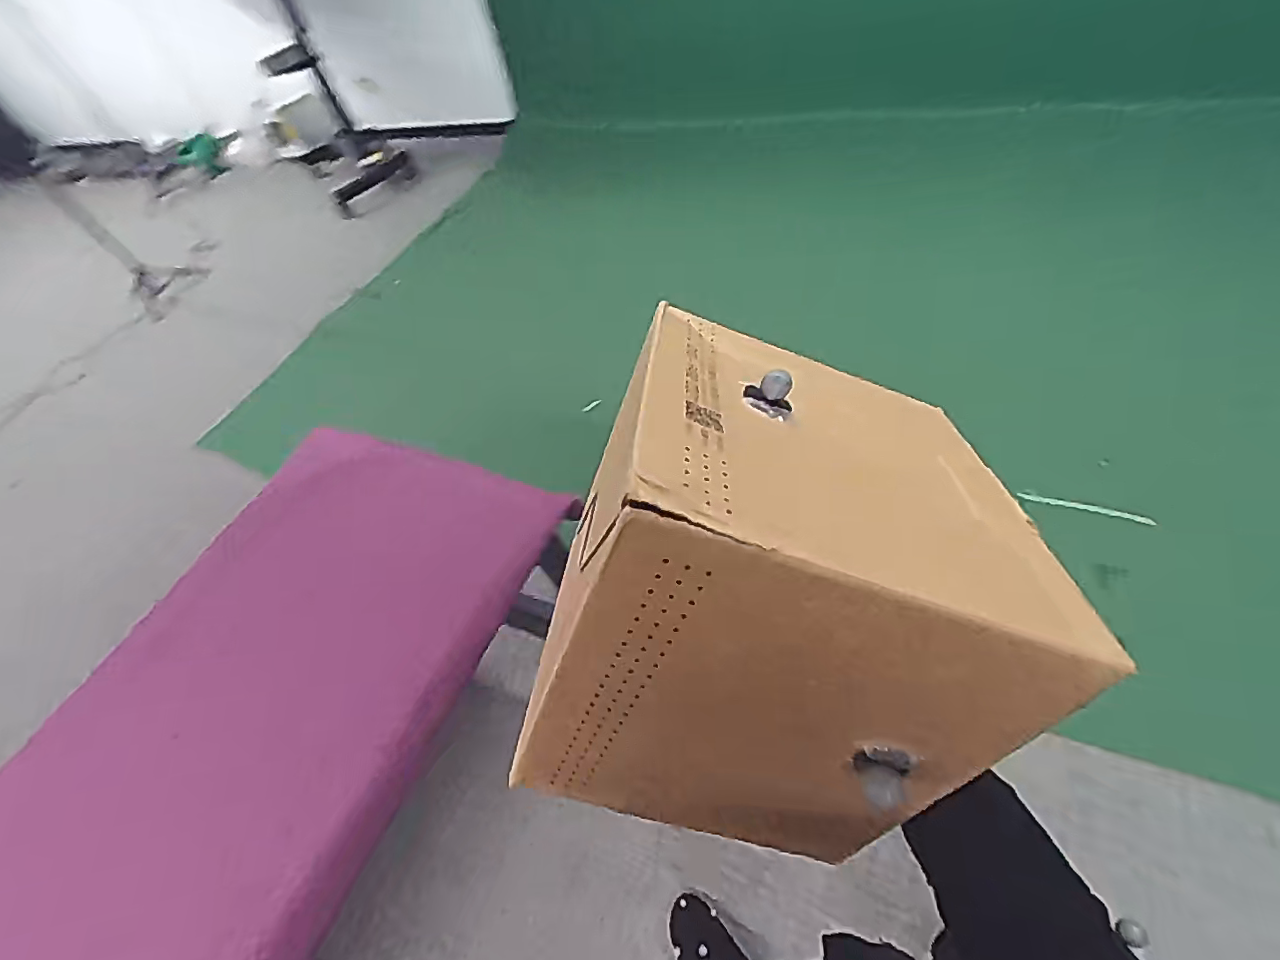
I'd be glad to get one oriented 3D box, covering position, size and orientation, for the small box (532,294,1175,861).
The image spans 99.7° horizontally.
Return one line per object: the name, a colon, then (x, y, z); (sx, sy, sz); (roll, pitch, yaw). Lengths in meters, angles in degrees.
small box: (0.058, 0.042, 0.259); (0.176, 0.179, 0.168); (19, 36, -7)
